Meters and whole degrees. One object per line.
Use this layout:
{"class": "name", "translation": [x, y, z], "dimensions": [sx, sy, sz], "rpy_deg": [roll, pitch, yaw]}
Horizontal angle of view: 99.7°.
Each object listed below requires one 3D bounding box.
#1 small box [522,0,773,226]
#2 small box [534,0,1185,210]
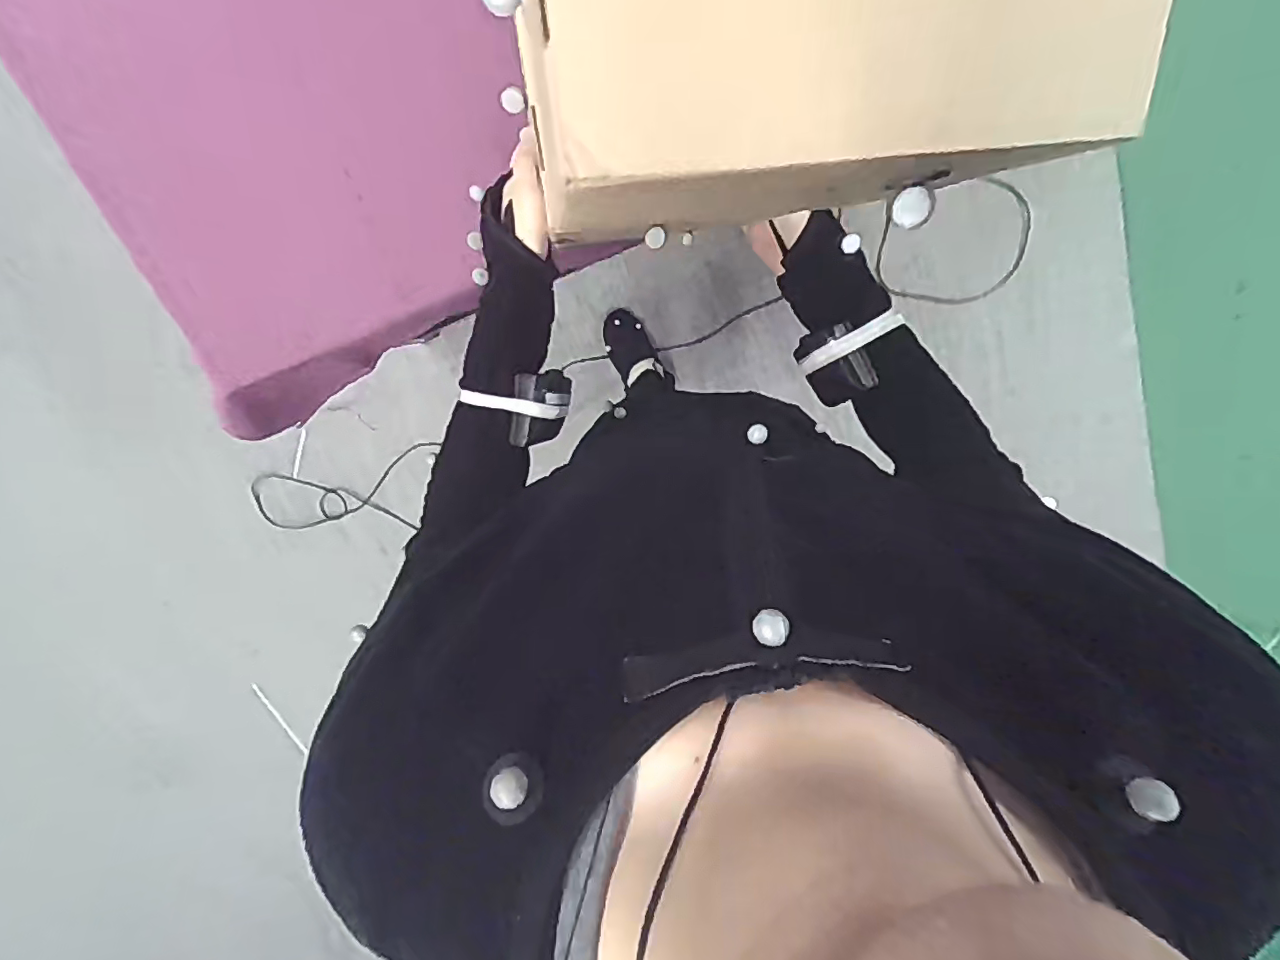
{"class": "small box", "translation": [0.020, -0.261, 0.343], "dimensions": [0.179, 0.176, 0.168], "rpy_deg": [-8, 114, -5]}
{"class": "small box", "translation": [0.050, -0.200, 0.194], "dimensions": [0.179, 0.176, 0.168], "rpy_deg": [-8, 111, -6]}
